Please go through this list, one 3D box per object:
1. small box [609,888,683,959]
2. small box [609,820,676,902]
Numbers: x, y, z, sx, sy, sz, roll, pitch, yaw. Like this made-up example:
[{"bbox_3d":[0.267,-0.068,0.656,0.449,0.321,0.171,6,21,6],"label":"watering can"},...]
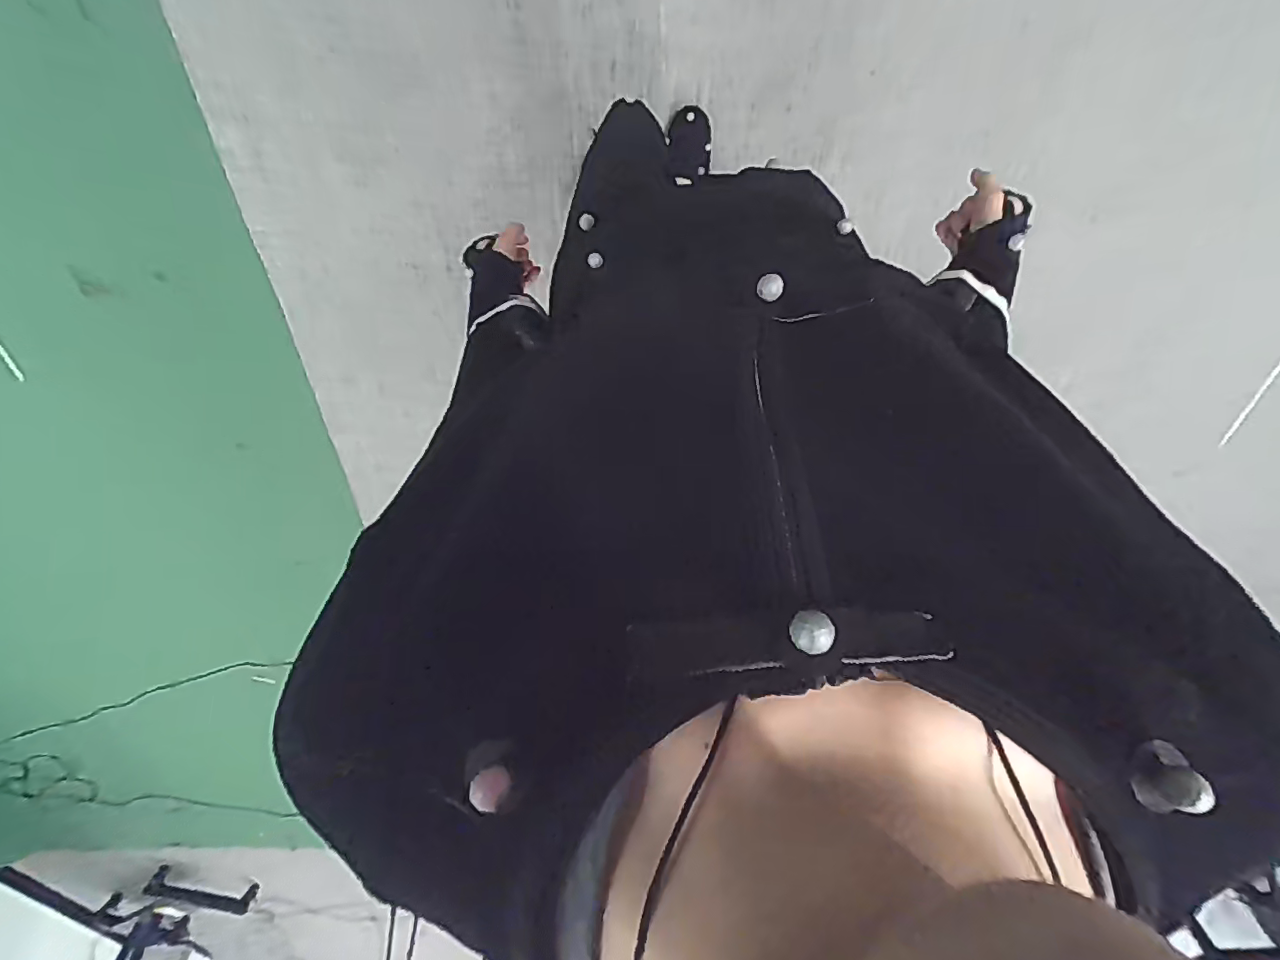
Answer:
[{"bbox_3d":[0.012,1.148,1.353,0.179,0.176,0.168,0,127,-1],"label":"small box"},{"bbox_3d":[0.008,1.066,1.495,0.179,0.176,0.168,-2,126,0],"label":"small box"}]
